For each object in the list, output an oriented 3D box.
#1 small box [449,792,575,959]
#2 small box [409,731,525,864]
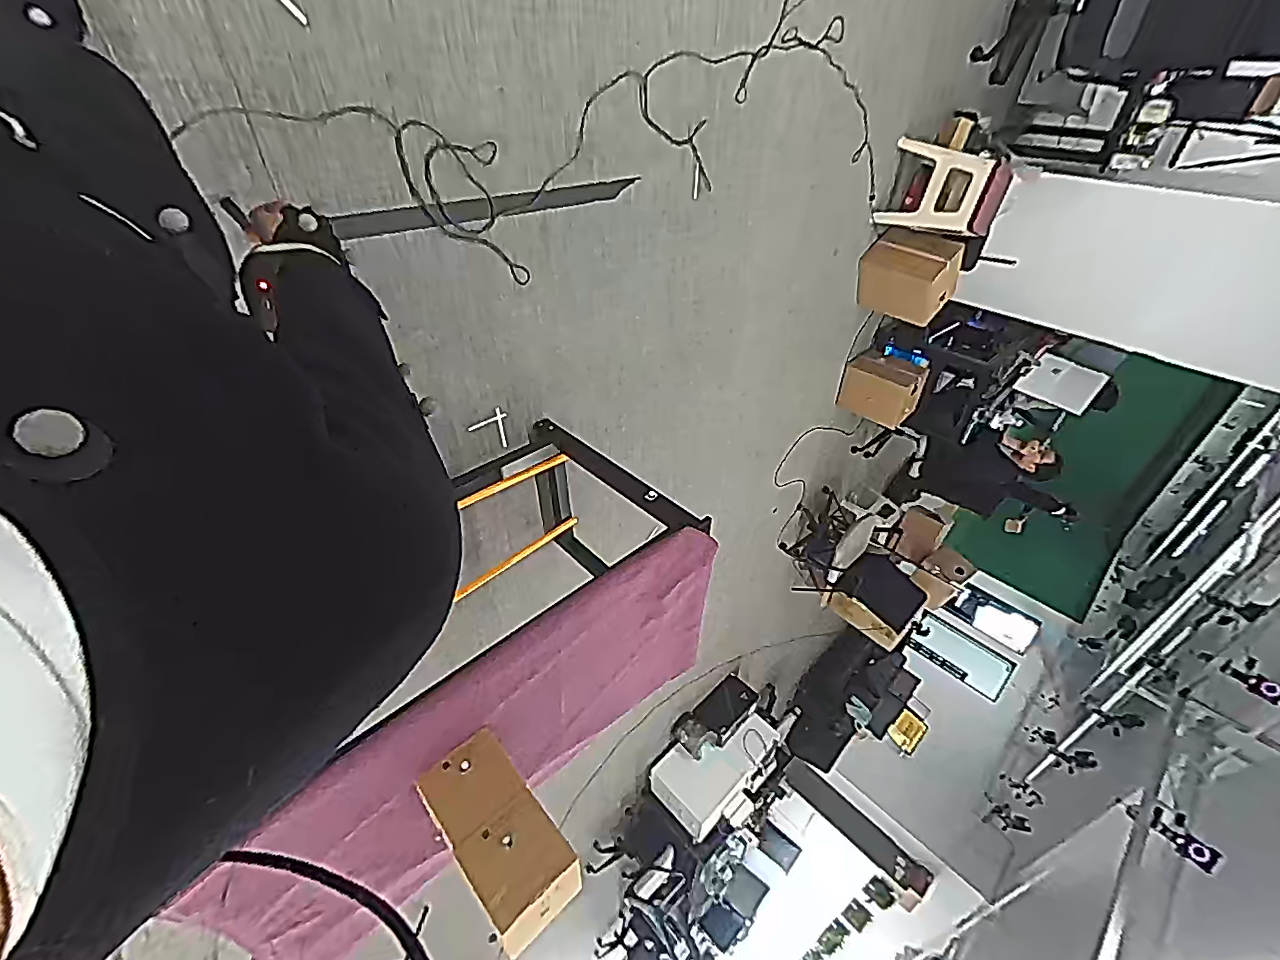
[{"bbox_3d":[-0.240,0.741,1.028,0.168,0.176,0.179,-30,138,-36],"label":"small box"},{"bbox_3d":[-0.351,0.664,1.122,0.168,0.176,0.179,-29,137,-35],"label":"small box"}]
